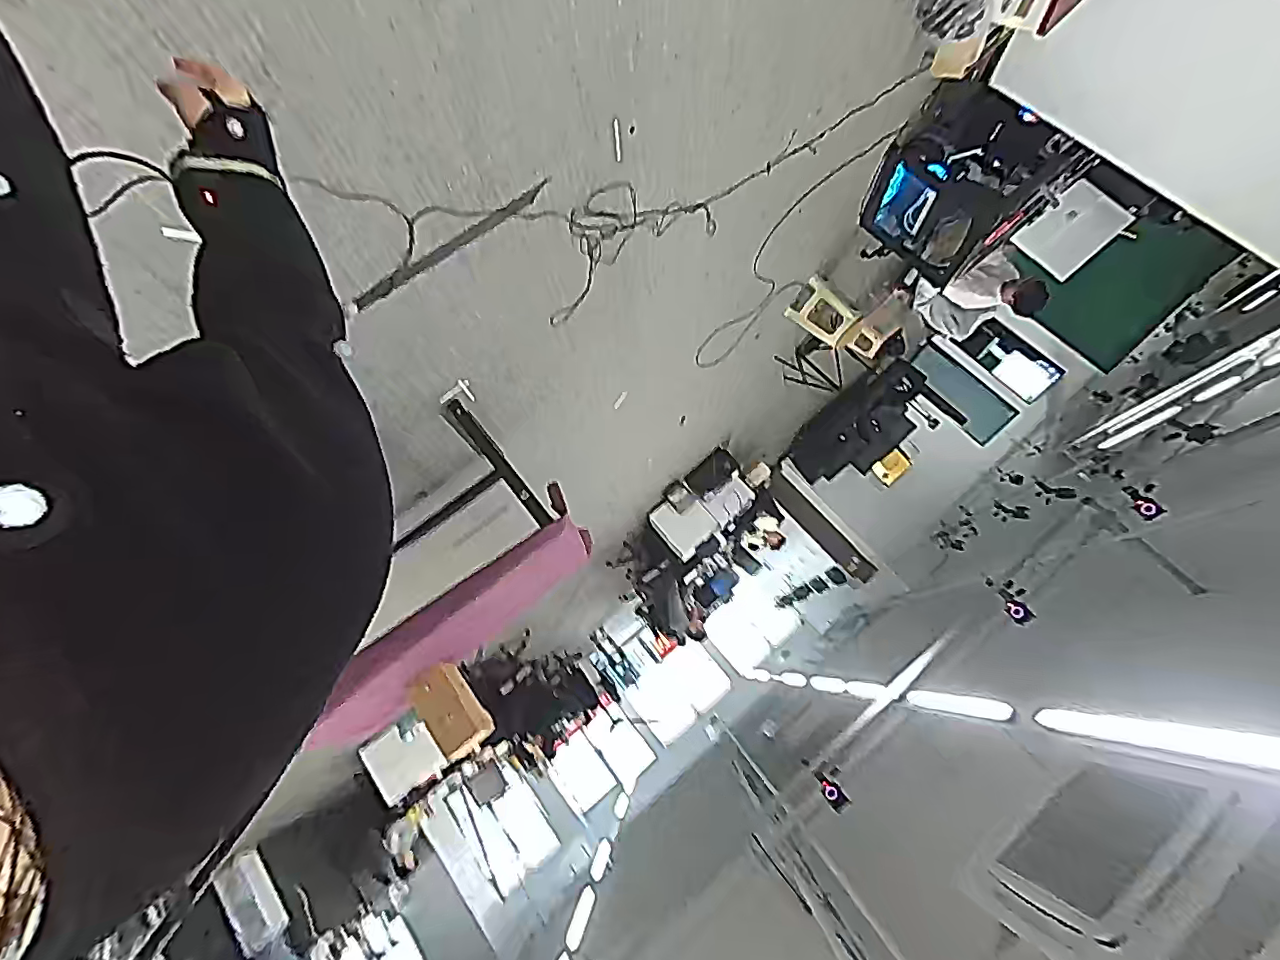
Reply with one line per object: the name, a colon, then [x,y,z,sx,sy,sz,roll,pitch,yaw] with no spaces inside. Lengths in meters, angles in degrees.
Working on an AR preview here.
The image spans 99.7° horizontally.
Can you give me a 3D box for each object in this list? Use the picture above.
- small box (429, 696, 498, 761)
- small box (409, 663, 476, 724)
small box: [-0.714,0.997,2.187,0.168,0.176,0.179,-41,162,-8]
small box: [-0.814,0.876,2.230,0.168,0.176,0.179,-40,162,-10]
